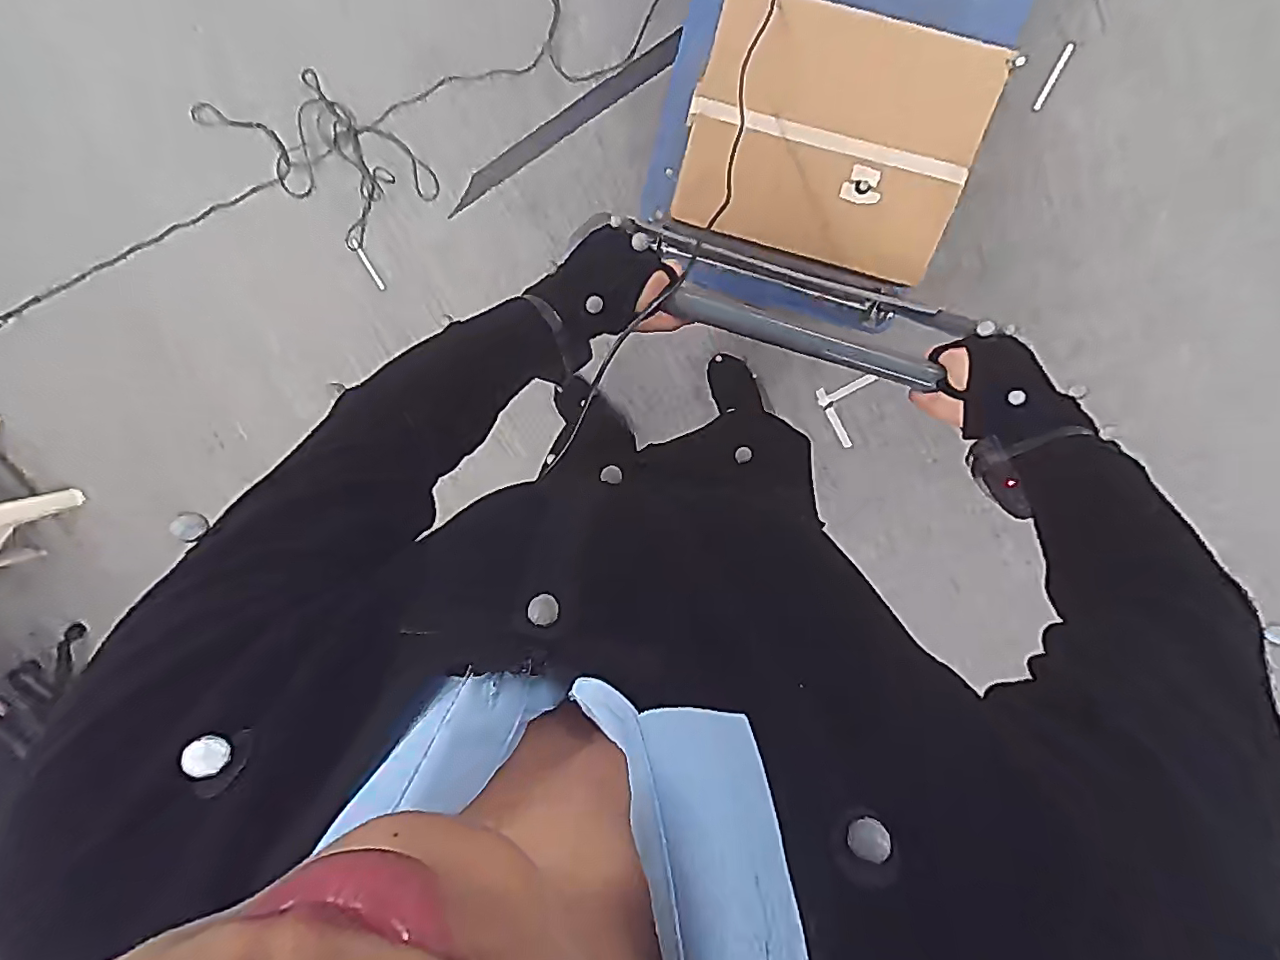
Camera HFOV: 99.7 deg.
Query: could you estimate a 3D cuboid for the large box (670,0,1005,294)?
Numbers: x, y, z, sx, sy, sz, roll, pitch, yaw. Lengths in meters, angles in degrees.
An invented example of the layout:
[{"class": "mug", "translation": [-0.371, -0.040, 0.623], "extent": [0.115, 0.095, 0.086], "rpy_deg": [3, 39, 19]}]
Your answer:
[{"class": "large box", "translation": [0.289, -0.529, 0.933], "extent": [0.408, 0.320, 0.320], "rpy_deg": [17, 111, 1]}]
